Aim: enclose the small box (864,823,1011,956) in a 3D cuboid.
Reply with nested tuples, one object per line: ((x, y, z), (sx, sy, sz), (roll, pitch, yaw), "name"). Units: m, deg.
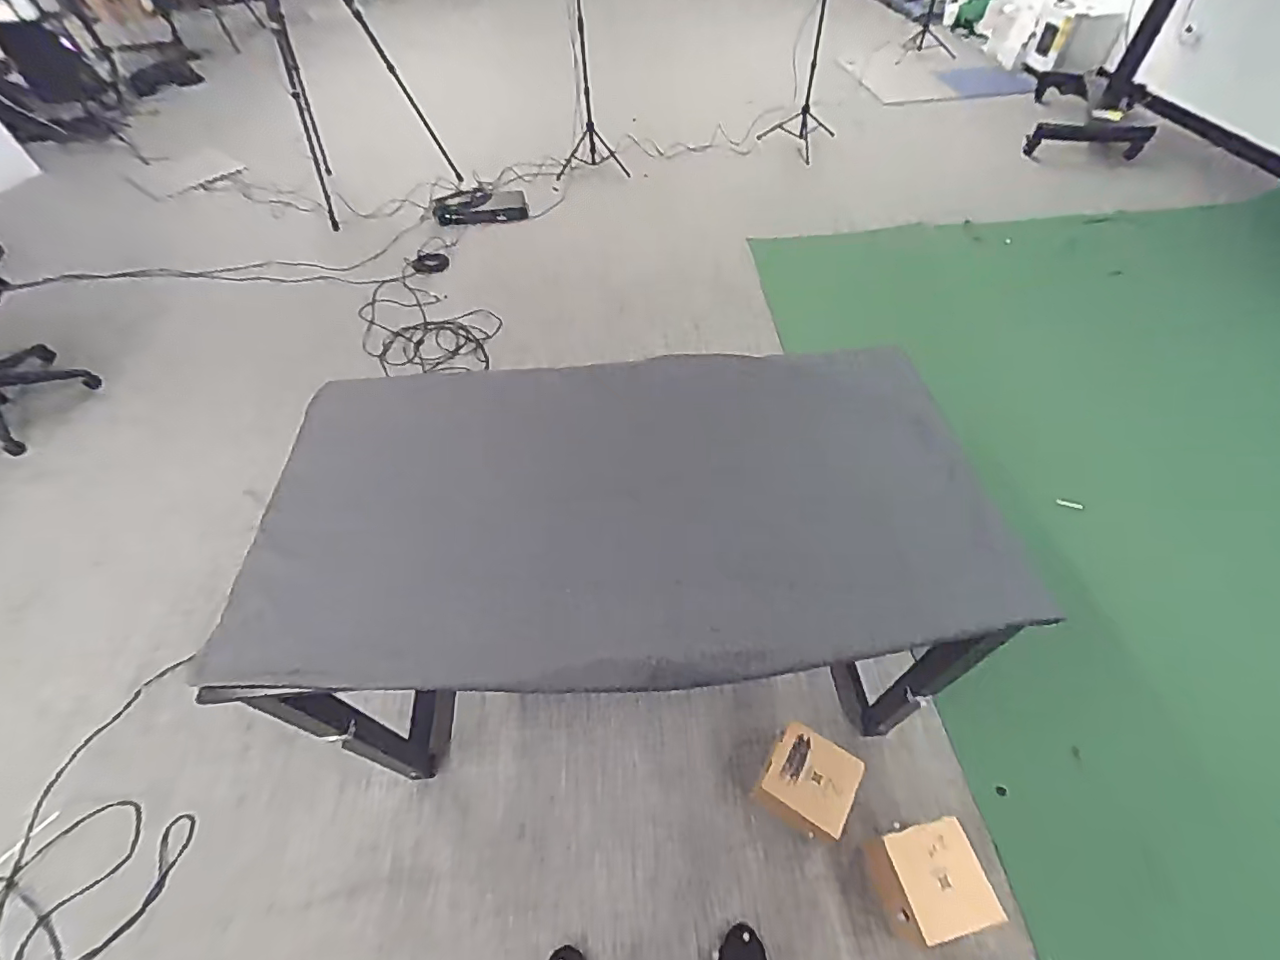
((0.584, 0.817, 1.087), (0.168, 0.176, 0.179), (-11, 52, -7), "small box")
